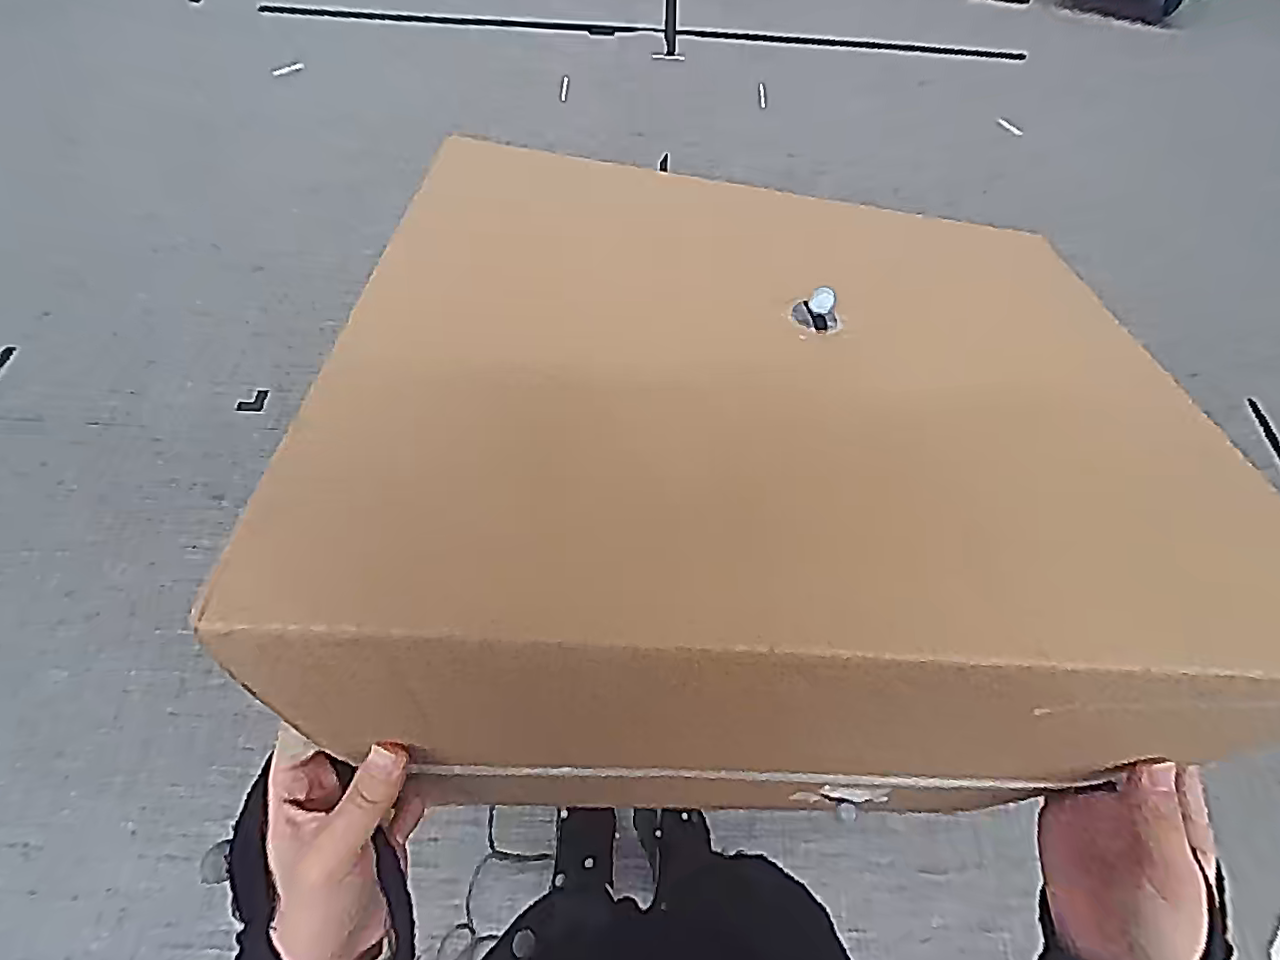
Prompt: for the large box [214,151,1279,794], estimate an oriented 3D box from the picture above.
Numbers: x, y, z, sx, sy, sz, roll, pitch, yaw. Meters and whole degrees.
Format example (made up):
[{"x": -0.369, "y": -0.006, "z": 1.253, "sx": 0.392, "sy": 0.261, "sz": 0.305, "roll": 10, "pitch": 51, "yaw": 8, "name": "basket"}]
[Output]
[{"x": 0.056, "y": 0.017, "z": 0.372, "sx": 0.408, "sy": 0.320, "sz": 0.320, "roll": 4, "pitch": 53, "yaw": -7, "name": "large box"}]
